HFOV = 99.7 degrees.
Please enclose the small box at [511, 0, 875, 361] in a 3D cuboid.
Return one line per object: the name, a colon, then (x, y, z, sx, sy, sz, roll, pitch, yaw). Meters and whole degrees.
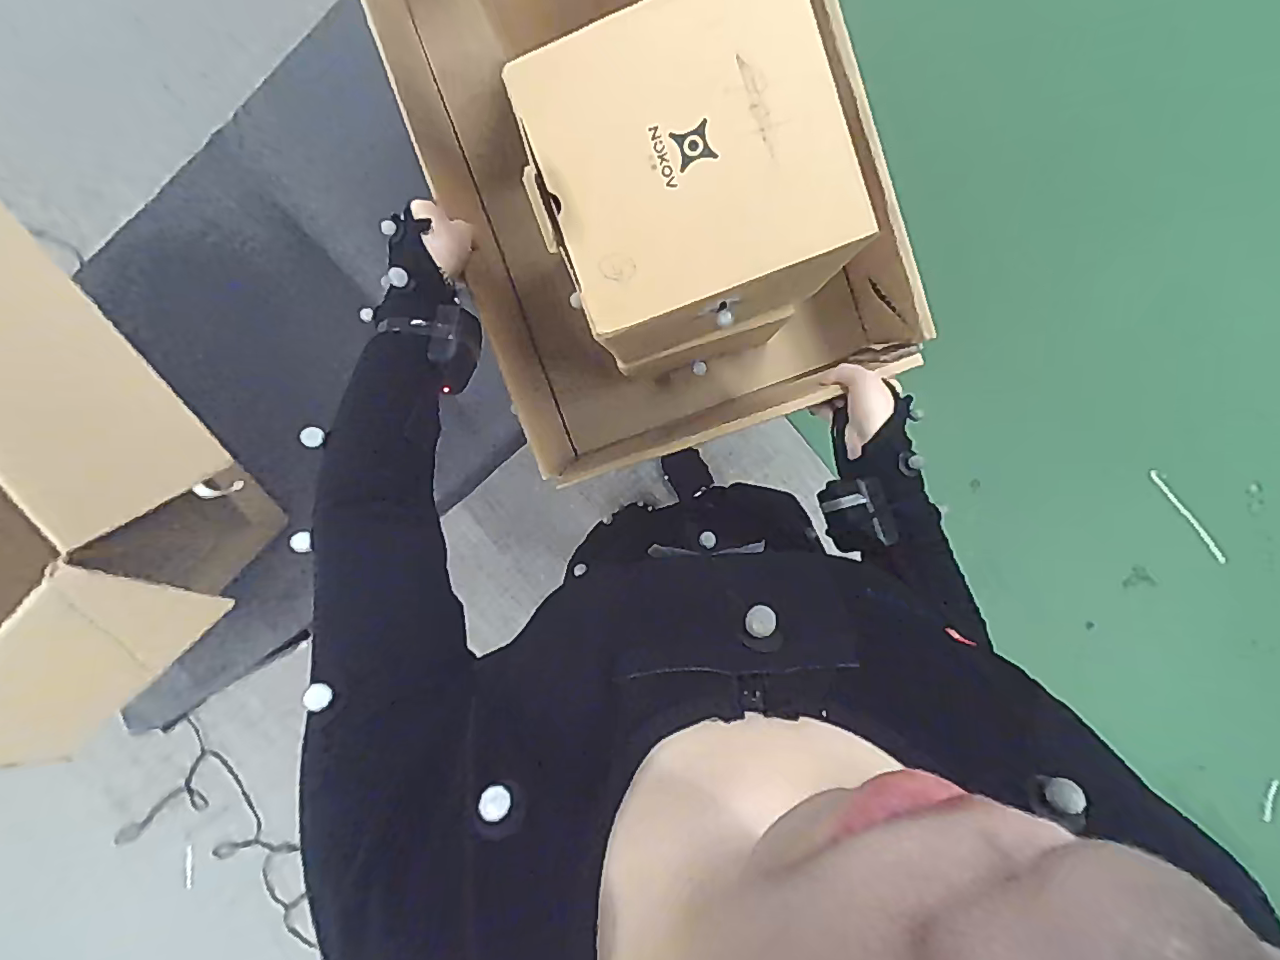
small box: (0.036, -0.196, 0.393, 0.179, 0.176, 0.168, -19, 95, 6)
